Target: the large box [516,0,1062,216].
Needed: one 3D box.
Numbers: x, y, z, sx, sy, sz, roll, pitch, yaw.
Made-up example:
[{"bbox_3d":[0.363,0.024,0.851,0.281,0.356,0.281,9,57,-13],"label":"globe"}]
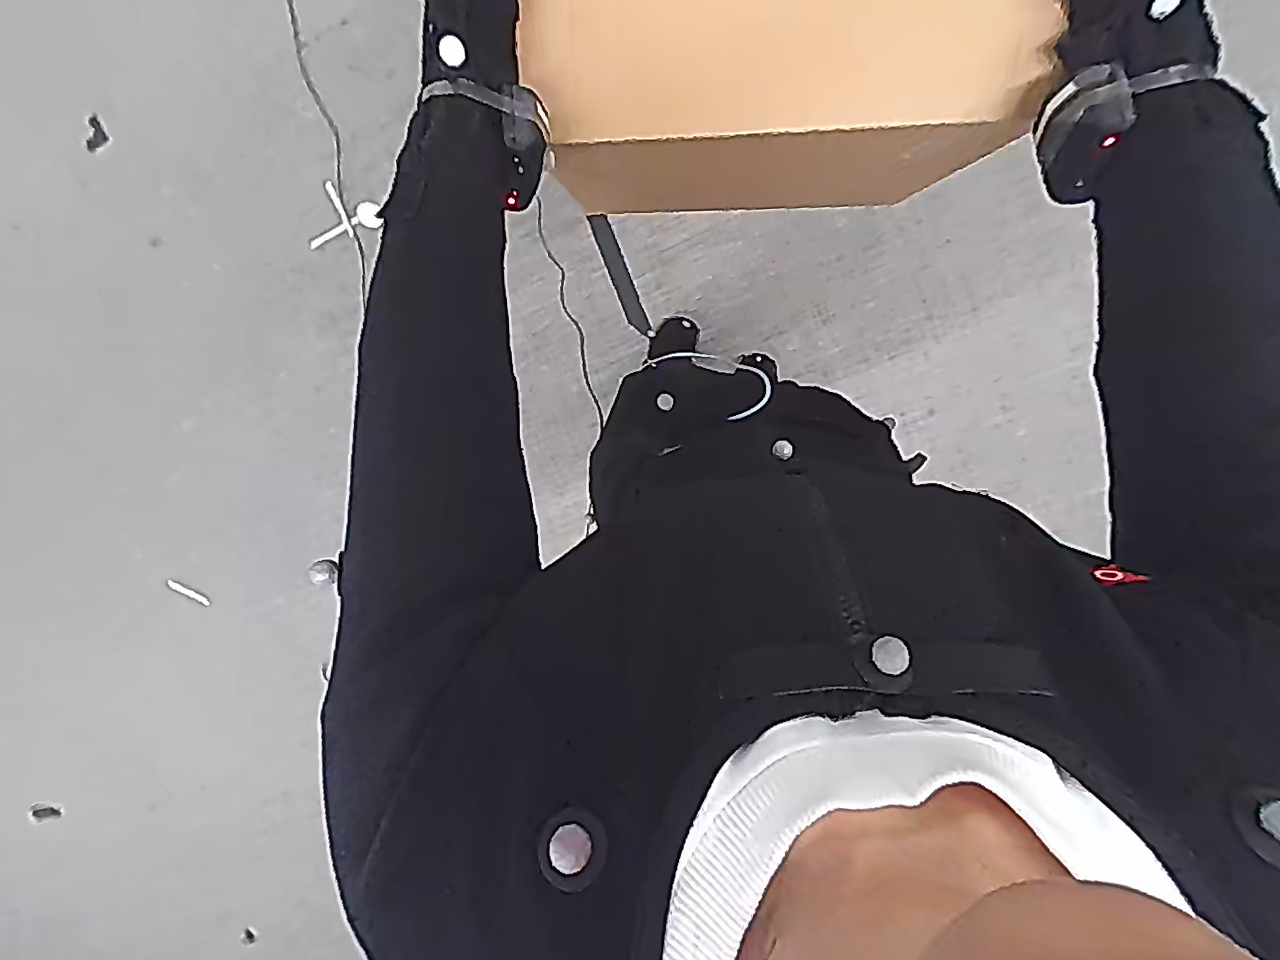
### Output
[{"bbox_3d":[0.108,-0.461,0.519,0.408,0.320,0.320,-1,107,4],"label":"large box"}]
